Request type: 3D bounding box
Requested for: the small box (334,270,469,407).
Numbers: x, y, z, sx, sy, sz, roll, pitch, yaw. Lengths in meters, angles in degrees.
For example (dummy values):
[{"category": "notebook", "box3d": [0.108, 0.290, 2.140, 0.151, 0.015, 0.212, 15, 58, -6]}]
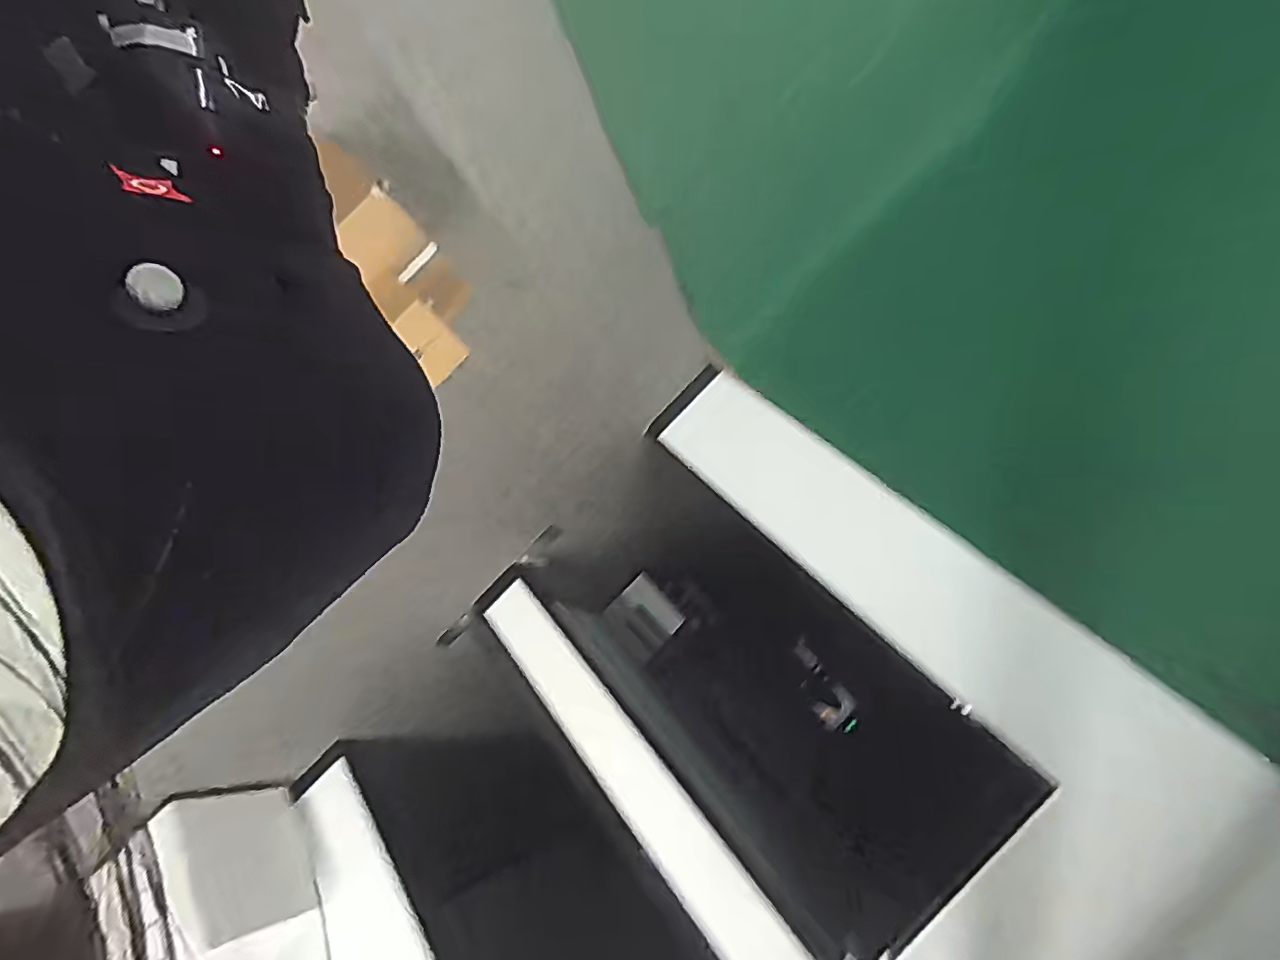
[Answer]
[{"category": "small box", "box3d": [-0.495, -0.291, 1.110, 0.179, 0.176, 0.168, -45, 146, 0]}]
